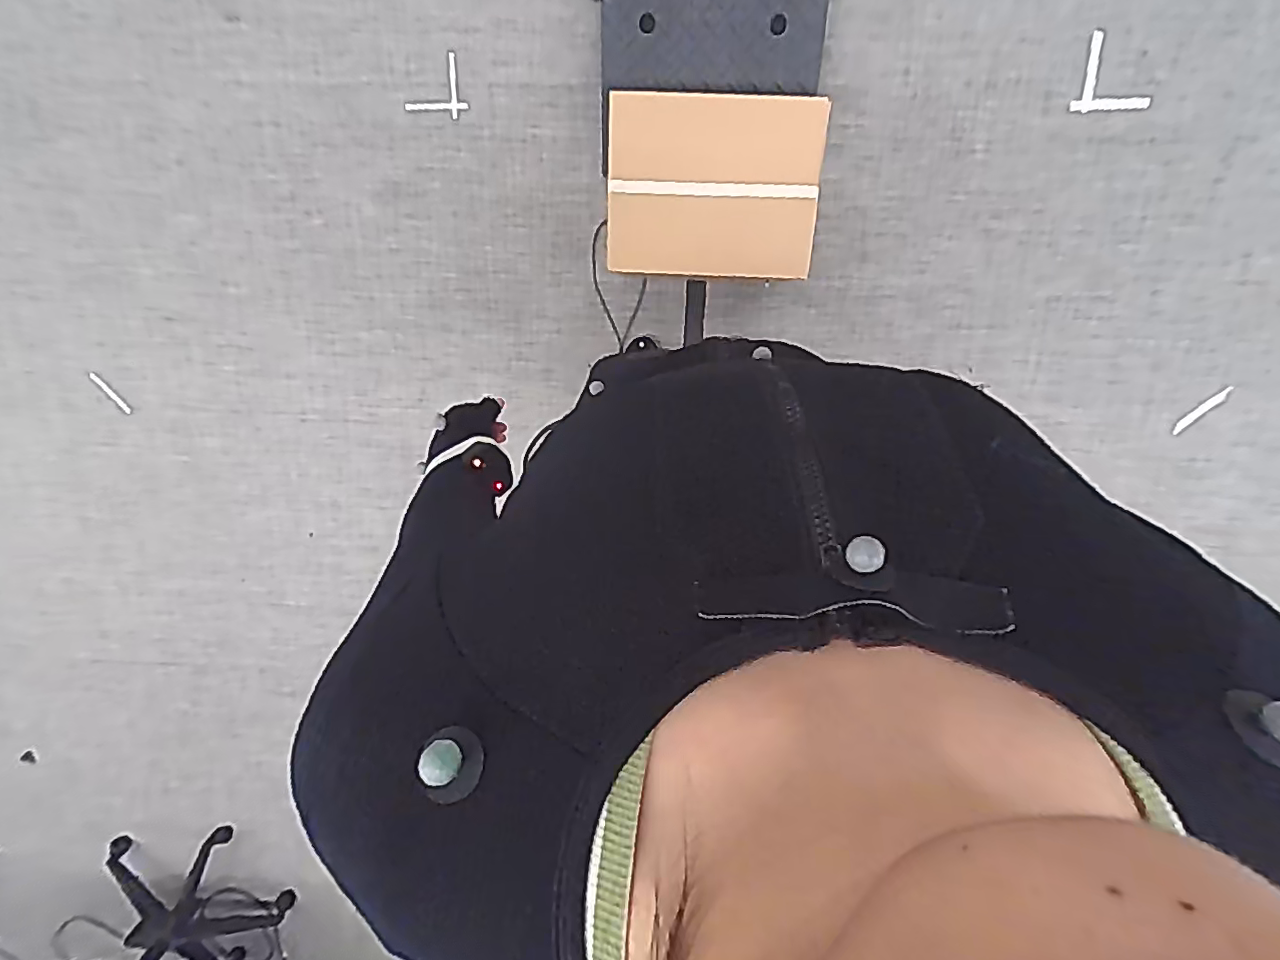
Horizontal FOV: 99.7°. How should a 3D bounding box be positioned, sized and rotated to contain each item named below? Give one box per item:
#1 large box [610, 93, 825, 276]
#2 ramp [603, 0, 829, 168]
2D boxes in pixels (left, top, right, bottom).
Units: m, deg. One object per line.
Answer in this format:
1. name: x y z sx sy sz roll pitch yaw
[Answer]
1. large box: 0.149 -0.616 1.185 0.408 0.320 0.320 3 109 2
2. ramp: 0.167 -1.199 1.094 0.509 0.206 0.991 0 106 1
